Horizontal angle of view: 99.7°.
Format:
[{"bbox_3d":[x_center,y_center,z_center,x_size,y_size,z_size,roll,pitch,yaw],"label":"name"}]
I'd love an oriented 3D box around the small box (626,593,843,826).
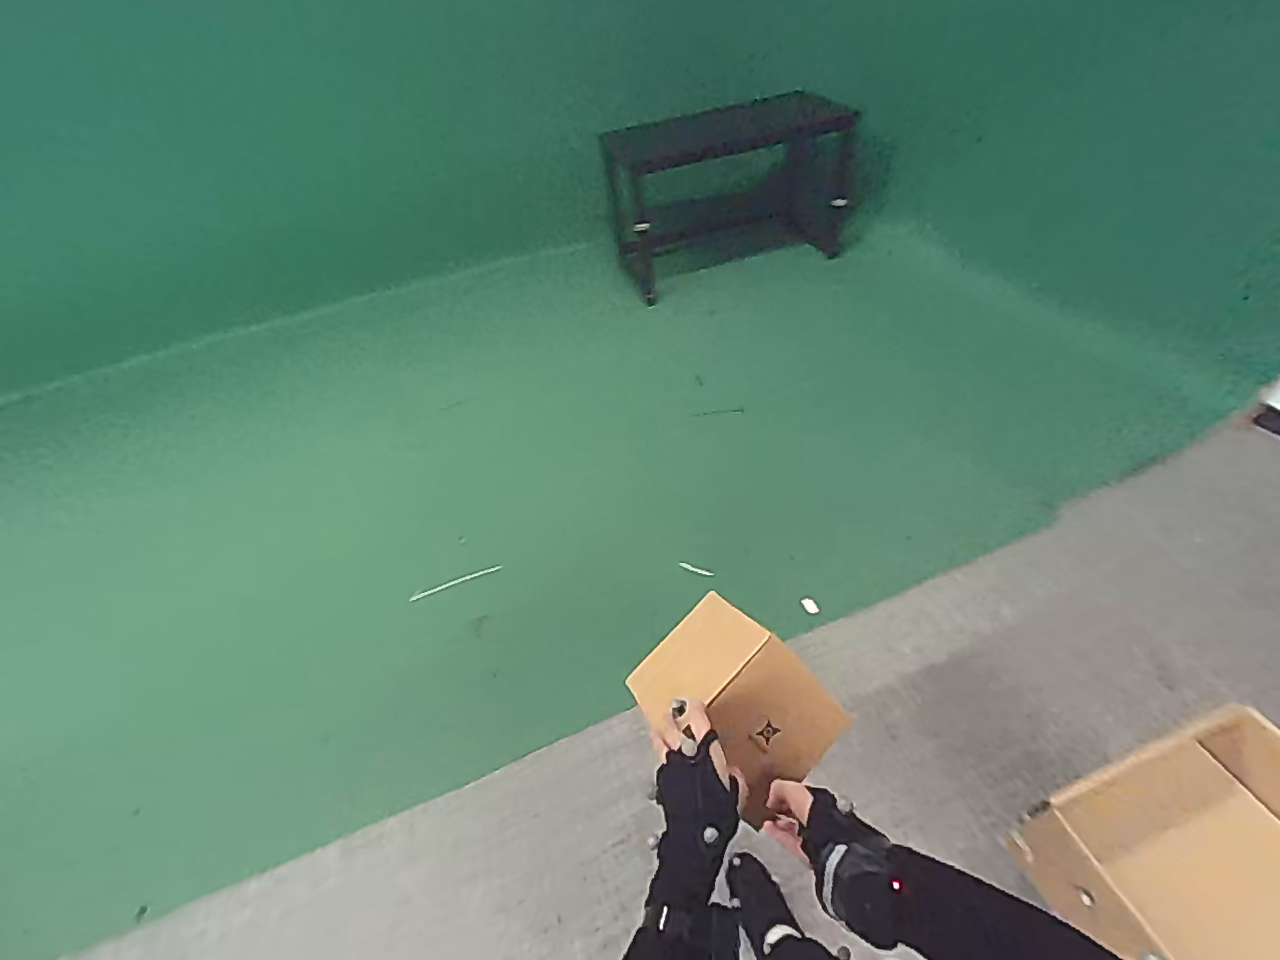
[{"bbox_3d":[0.107,0.272,0.683,0.179,0.168,0.176,-46,17,-6],"label":"small box"}]
